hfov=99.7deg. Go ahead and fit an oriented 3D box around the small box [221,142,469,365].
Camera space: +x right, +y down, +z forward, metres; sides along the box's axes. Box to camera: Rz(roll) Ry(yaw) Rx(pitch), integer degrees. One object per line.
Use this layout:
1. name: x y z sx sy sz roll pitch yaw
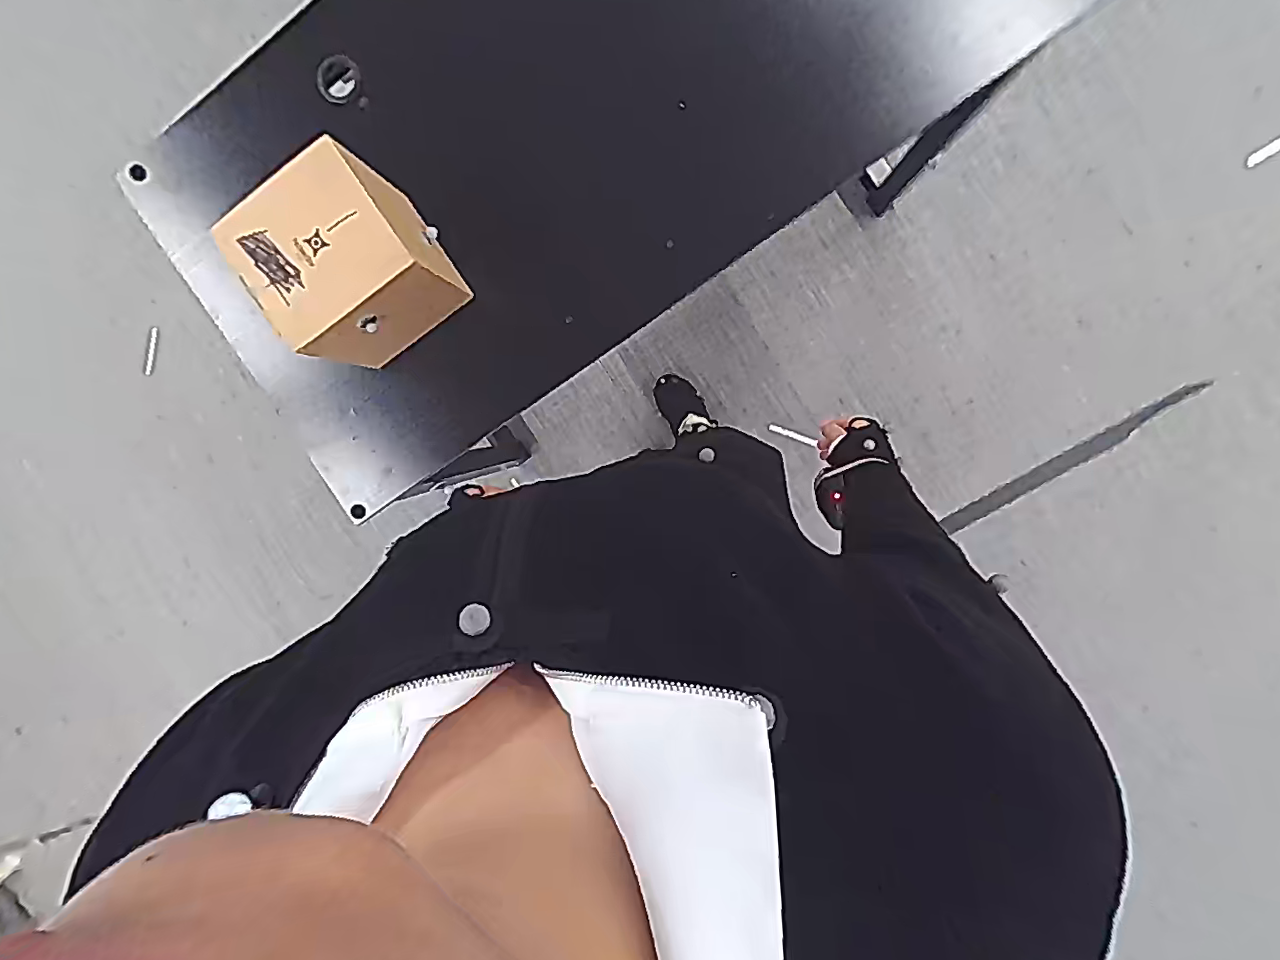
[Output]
1. small box: -0.353 -0.263 0.681 0.179 0.176 0.168 -34 92 7
